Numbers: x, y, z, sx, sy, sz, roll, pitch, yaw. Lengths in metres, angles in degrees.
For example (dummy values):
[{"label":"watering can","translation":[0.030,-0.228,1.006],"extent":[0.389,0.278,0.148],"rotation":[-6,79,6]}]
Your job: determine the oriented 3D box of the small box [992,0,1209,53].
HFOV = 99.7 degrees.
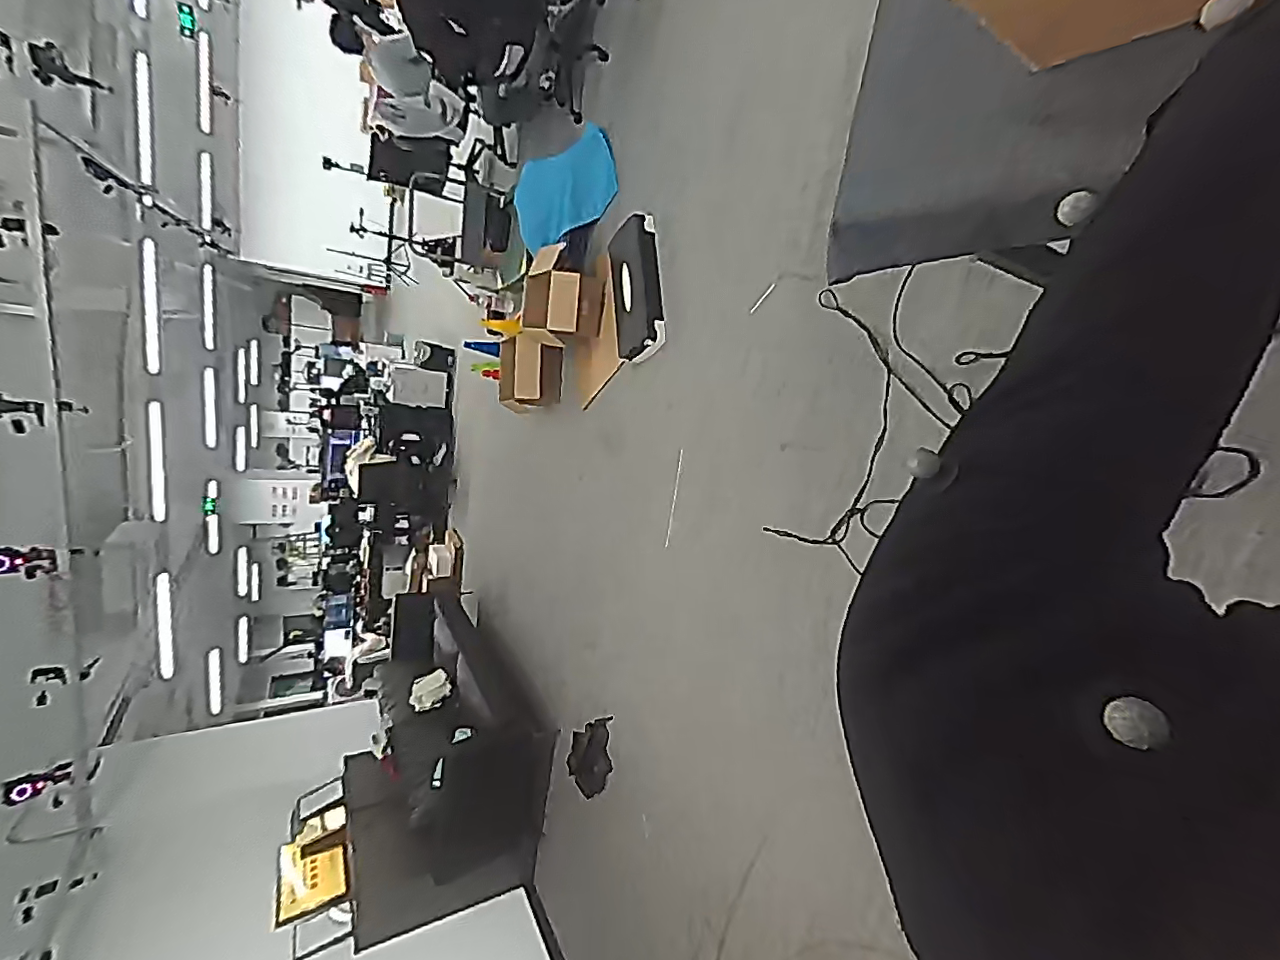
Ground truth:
[{"label":"small box","translation":[0.416,-0.510,0.455],"extent":[0.179,0.176,0.168],"rotation":[27,111,56]}]
